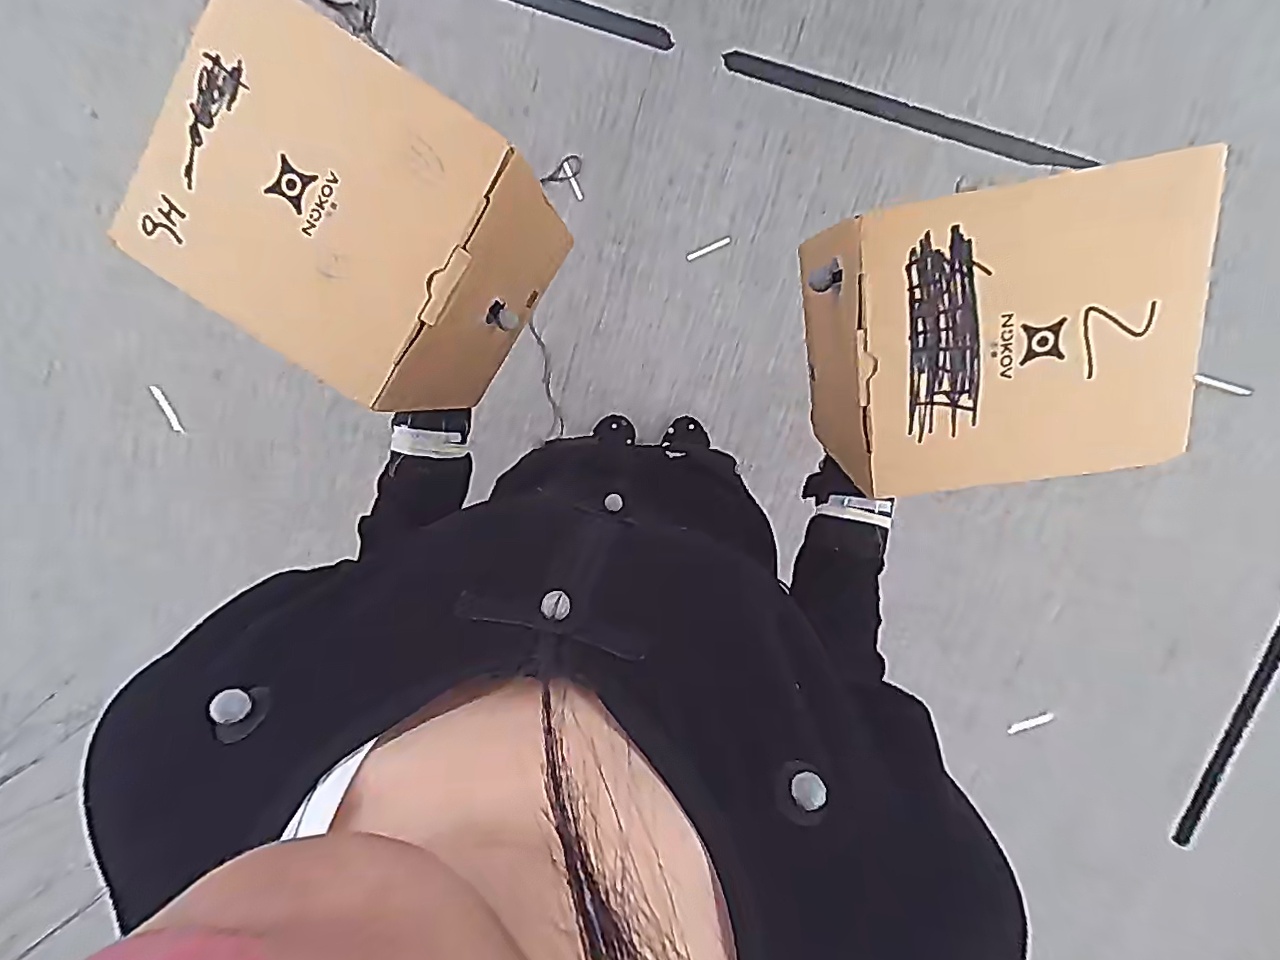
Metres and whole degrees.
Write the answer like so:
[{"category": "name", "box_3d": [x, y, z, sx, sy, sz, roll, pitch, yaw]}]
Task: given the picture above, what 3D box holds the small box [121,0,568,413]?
[{"category": "small box", "box_3d": [-0.169, -0.165, 0.371, 0.179, 0.176, 0.168, 33, 99, -3]}]
